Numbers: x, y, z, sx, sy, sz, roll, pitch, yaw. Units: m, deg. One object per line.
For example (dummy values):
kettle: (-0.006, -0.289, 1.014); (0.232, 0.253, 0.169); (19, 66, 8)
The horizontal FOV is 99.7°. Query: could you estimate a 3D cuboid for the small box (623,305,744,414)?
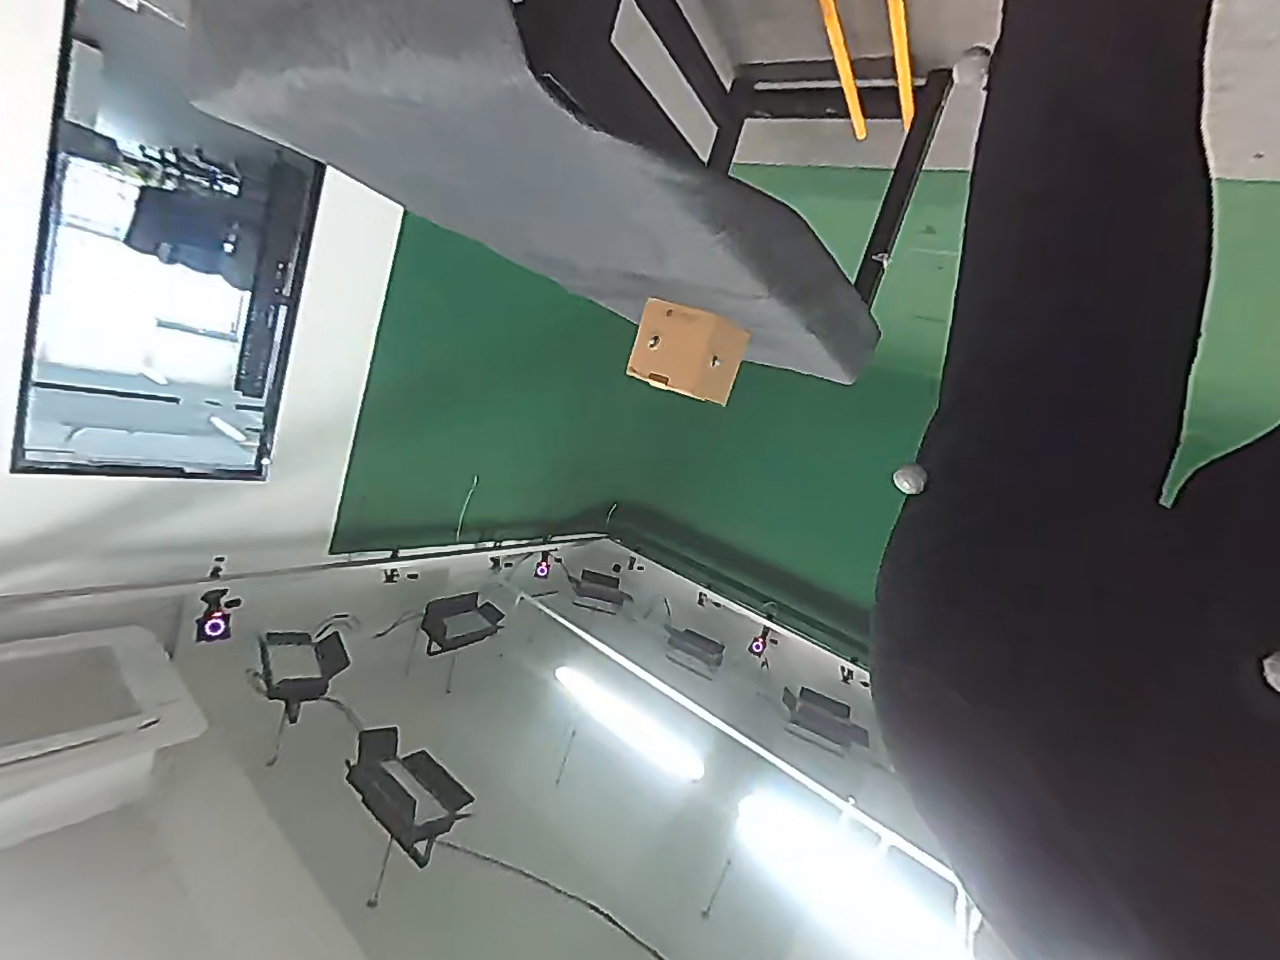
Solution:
small box: (0.095, -0.252, 1.129); (0.168, 0.176, 0.179); (24, -170, 29)
